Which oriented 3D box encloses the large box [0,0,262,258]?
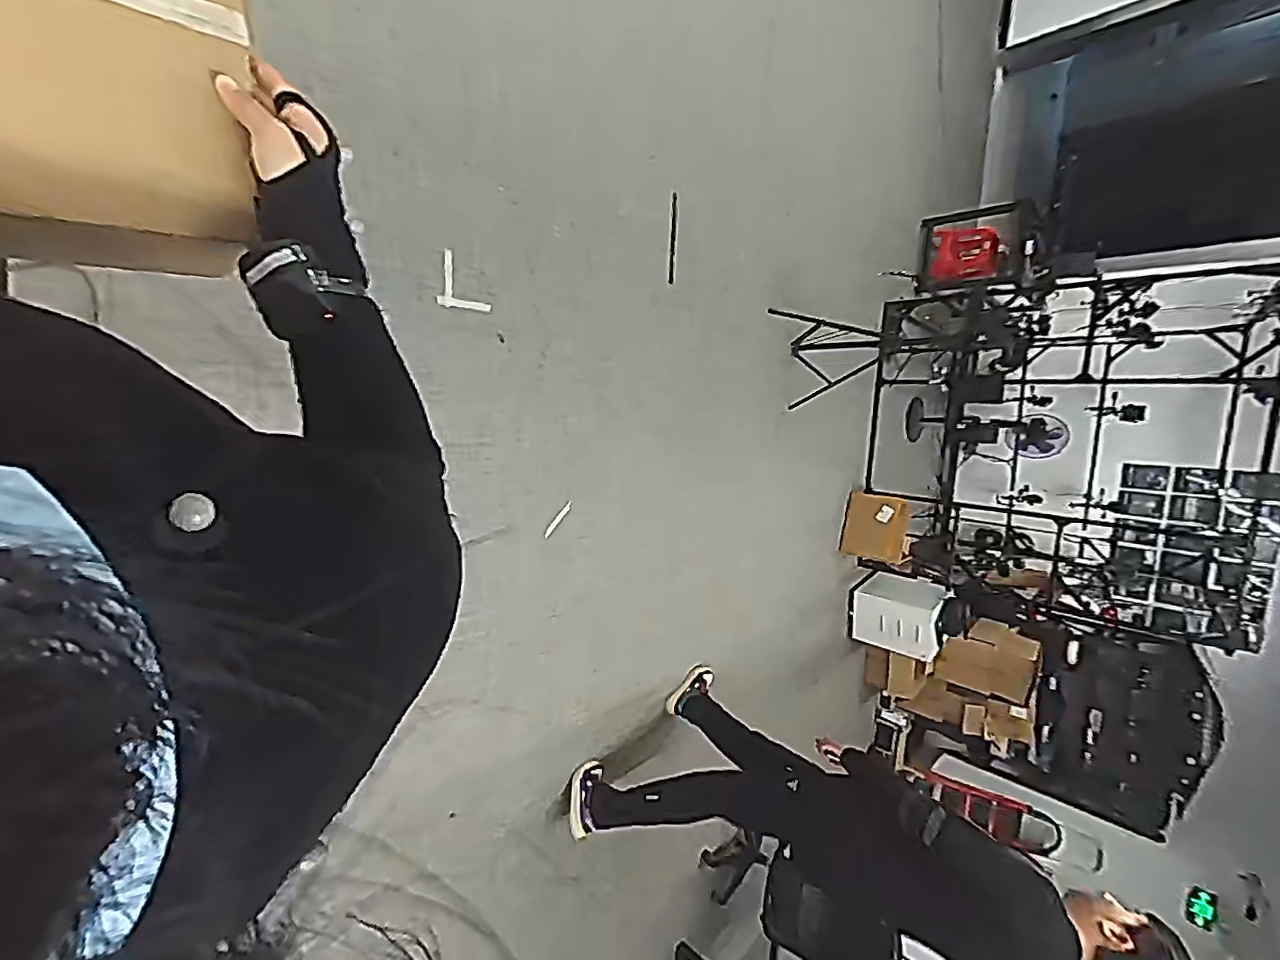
[{"bbox_3d":[-0.571,-0.360,0.406,0.408,0.320,0.320,-12,108,-42],"label":"large box"}]
